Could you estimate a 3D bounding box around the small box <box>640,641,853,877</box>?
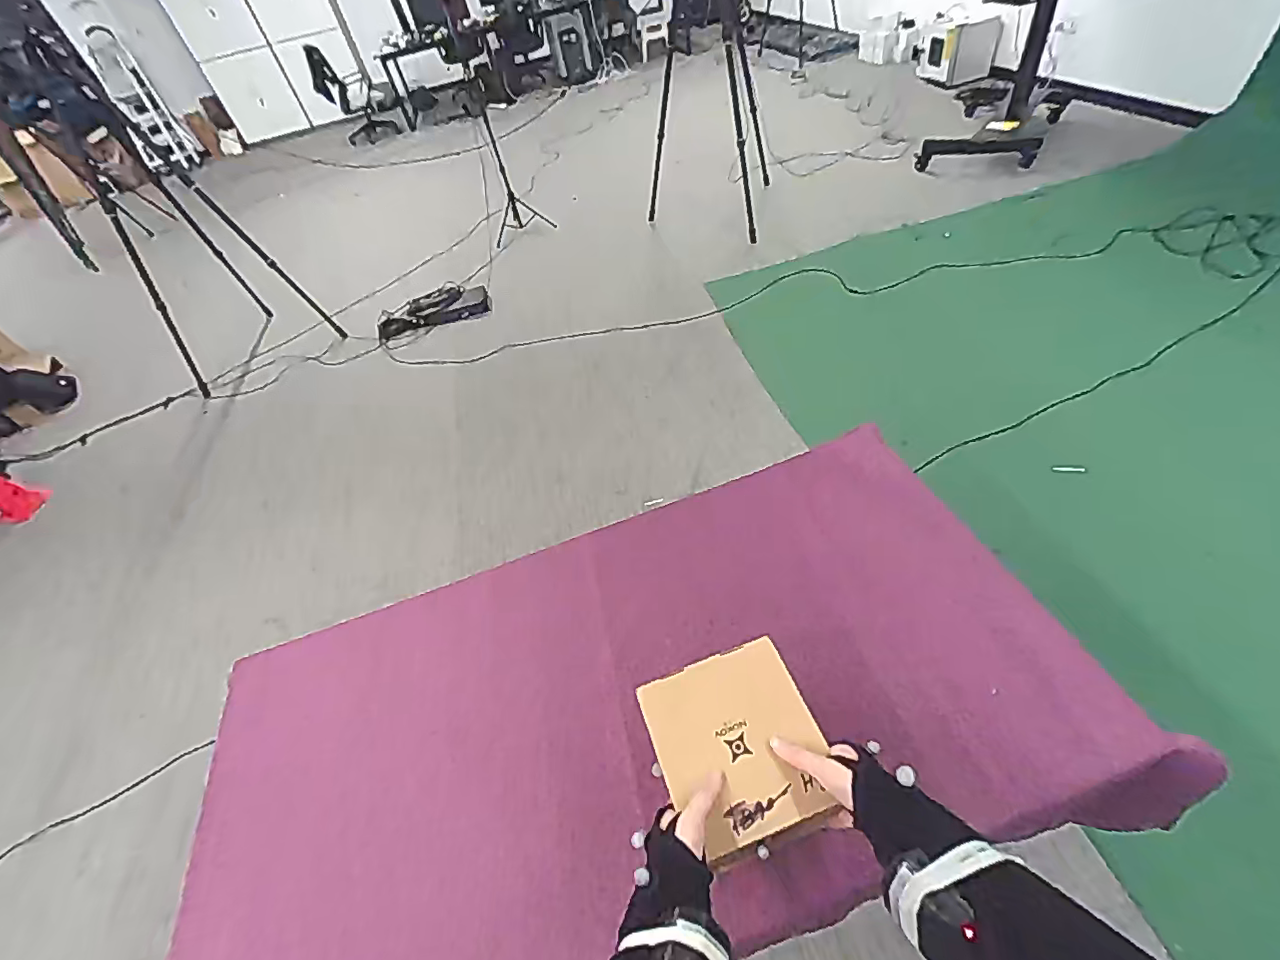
[{"bbox_3d":[0.113,0.320,0.617,0.168,0.176,0.179,-21,50,-4],"label":"small box"}]
